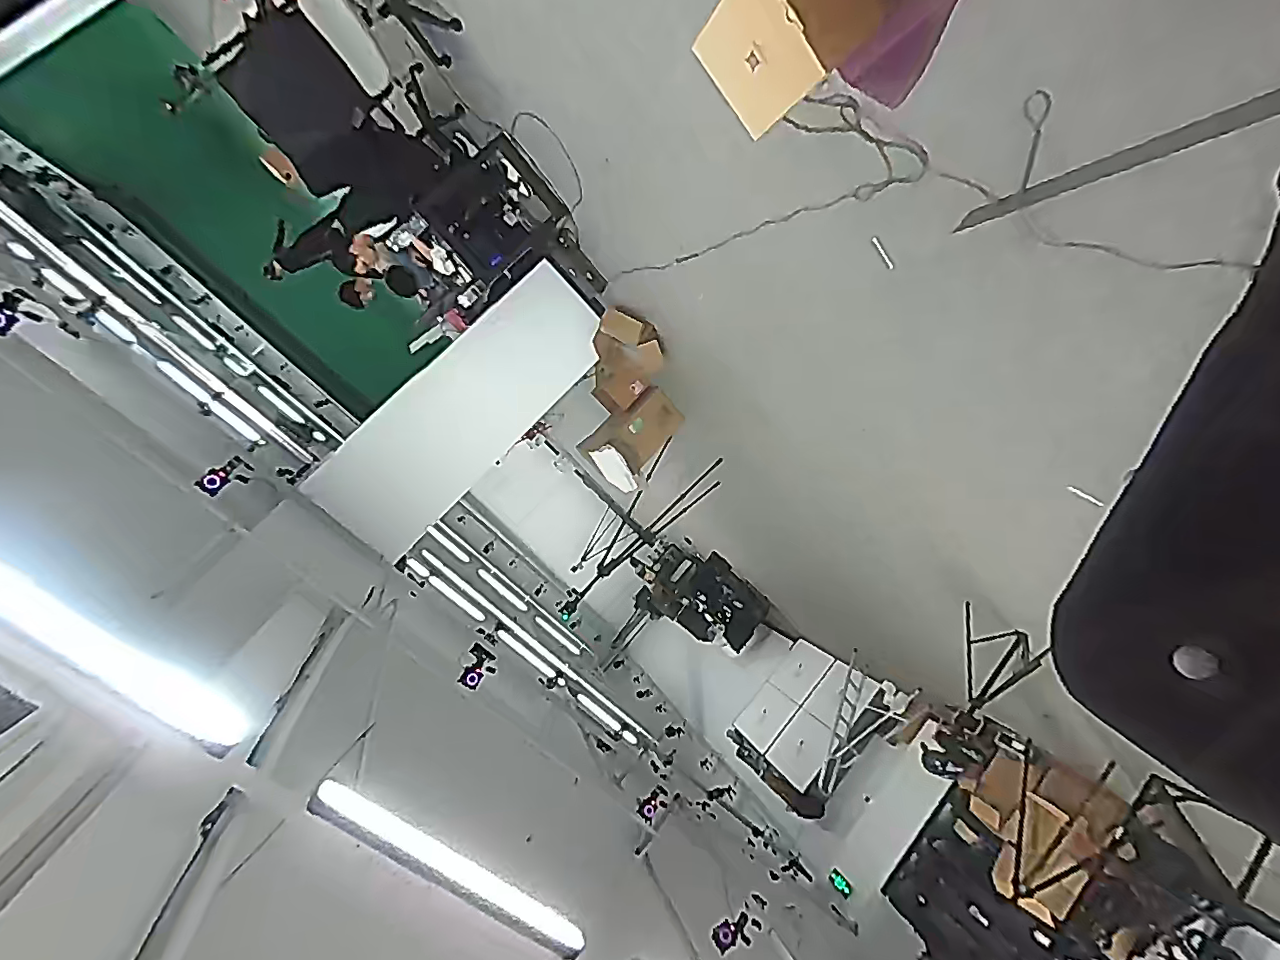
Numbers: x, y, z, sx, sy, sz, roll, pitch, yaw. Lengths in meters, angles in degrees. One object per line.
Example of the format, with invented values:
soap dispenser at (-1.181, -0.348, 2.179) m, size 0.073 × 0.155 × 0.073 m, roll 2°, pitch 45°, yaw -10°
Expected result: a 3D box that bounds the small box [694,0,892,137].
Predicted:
small box at (0.216, -0.650, 0.772) m, size 0.168 × 0.176 × 0.179 m, roll 46°, pitch 168°, yaw -17°
